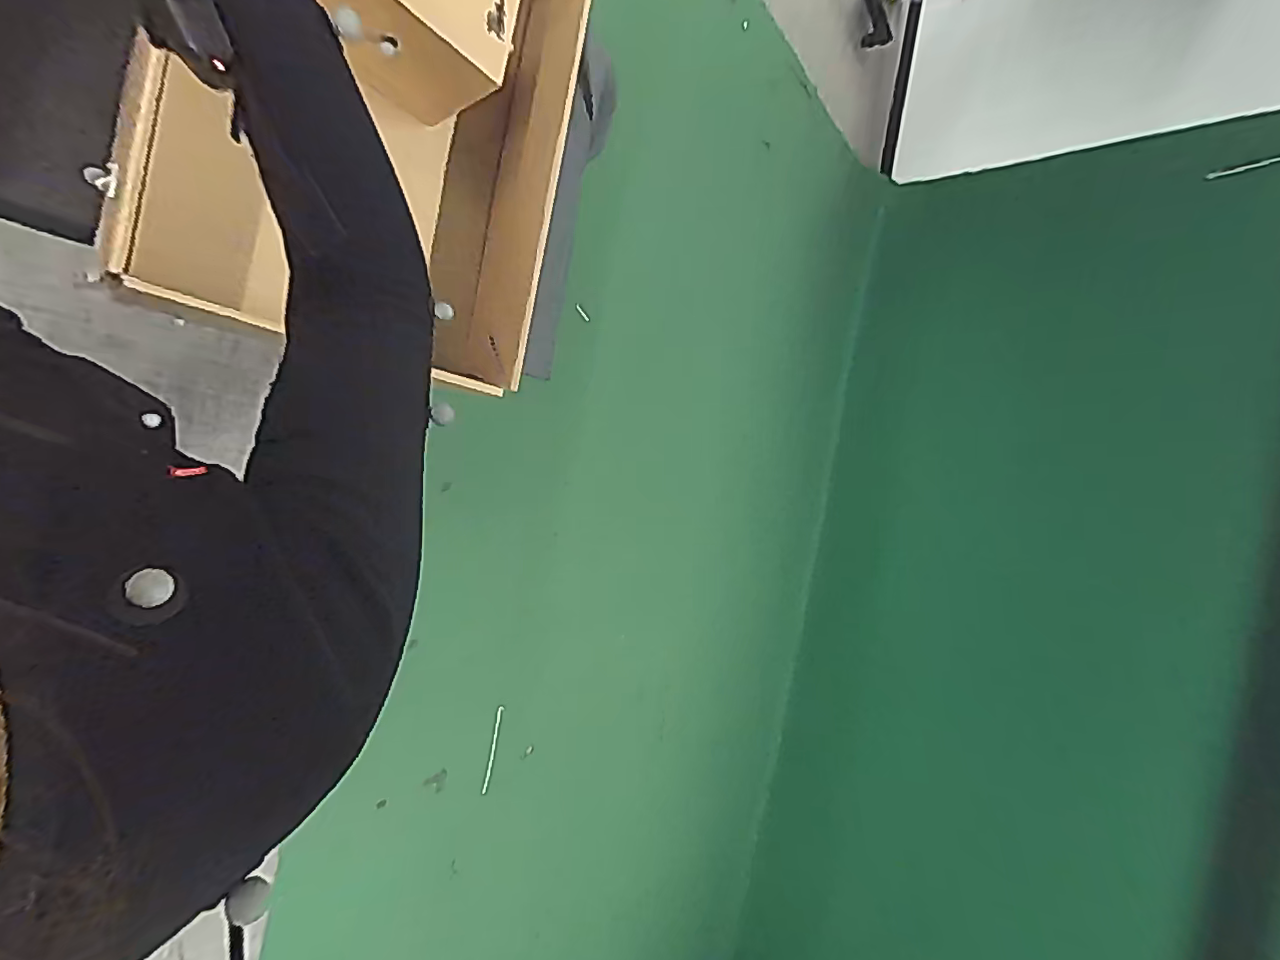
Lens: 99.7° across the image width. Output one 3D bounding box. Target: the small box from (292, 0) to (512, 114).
[{"bbox_3d":[-0.267,-0.562,0.616,0.179,0.176,0.168,13,90,-48],"label":"small box"}]
